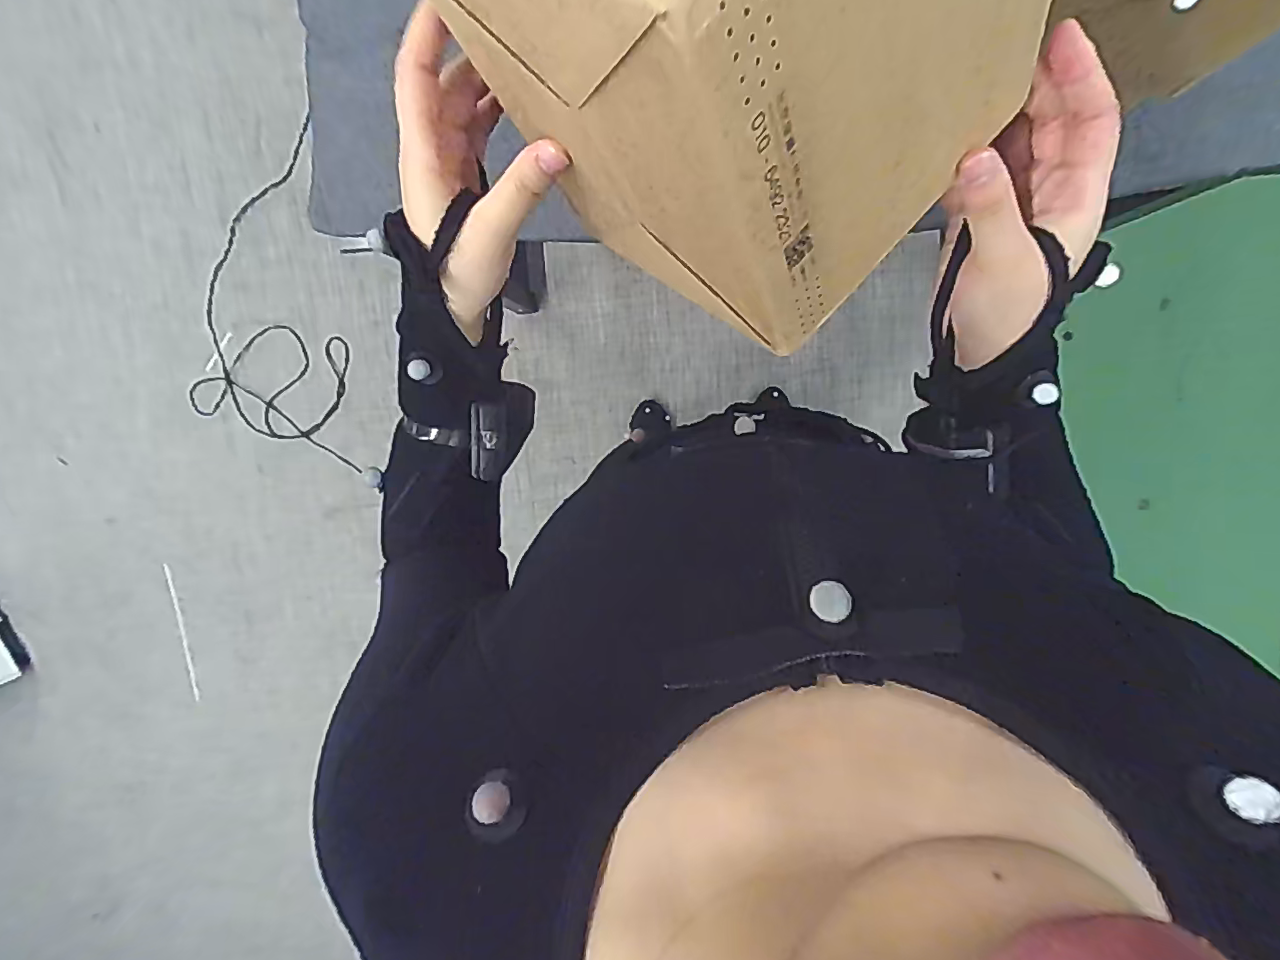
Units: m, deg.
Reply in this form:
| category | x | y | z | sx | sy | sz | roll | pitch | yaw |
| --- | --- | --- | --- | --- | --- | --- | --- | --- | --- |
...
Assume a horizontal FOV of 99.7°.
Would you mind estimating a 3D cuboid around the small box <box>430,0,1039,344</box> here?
| category | x | y | z | sx | sy | sz | roll | pitch | yaw |
| --- | --- | --- | --- | --- | --- | --- | --- | --- | --- |
| small box | 0.039 | -0.196 | 0.235 | 0.176 | 0.168 | 0.179 | -48 | 59 | 4 |

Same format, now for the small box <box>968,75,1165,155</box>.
| category | x | y | z | sx | sy | sz | roll | pitch | yaw |
| --- | --- | --- | --- | --- | --- | --- | --- | --- | --- |
| small box | 0.417 | -0.467 | 0.557 | 0.168 | 0.176 | 0.179 | -1 | 99 | 6 |

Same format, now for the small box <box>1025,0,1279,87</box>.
| category | x | y | z | sx | sy | sz | roll | pitch | yaw |
| --- | --- | --- | --- | --- | --- | --- | --- | --- | --- |
| small box | 0.401 | -0.428 | 0.399 | 0.179 | 0.176 | 0.168 | 10 | 99 | 5 |
